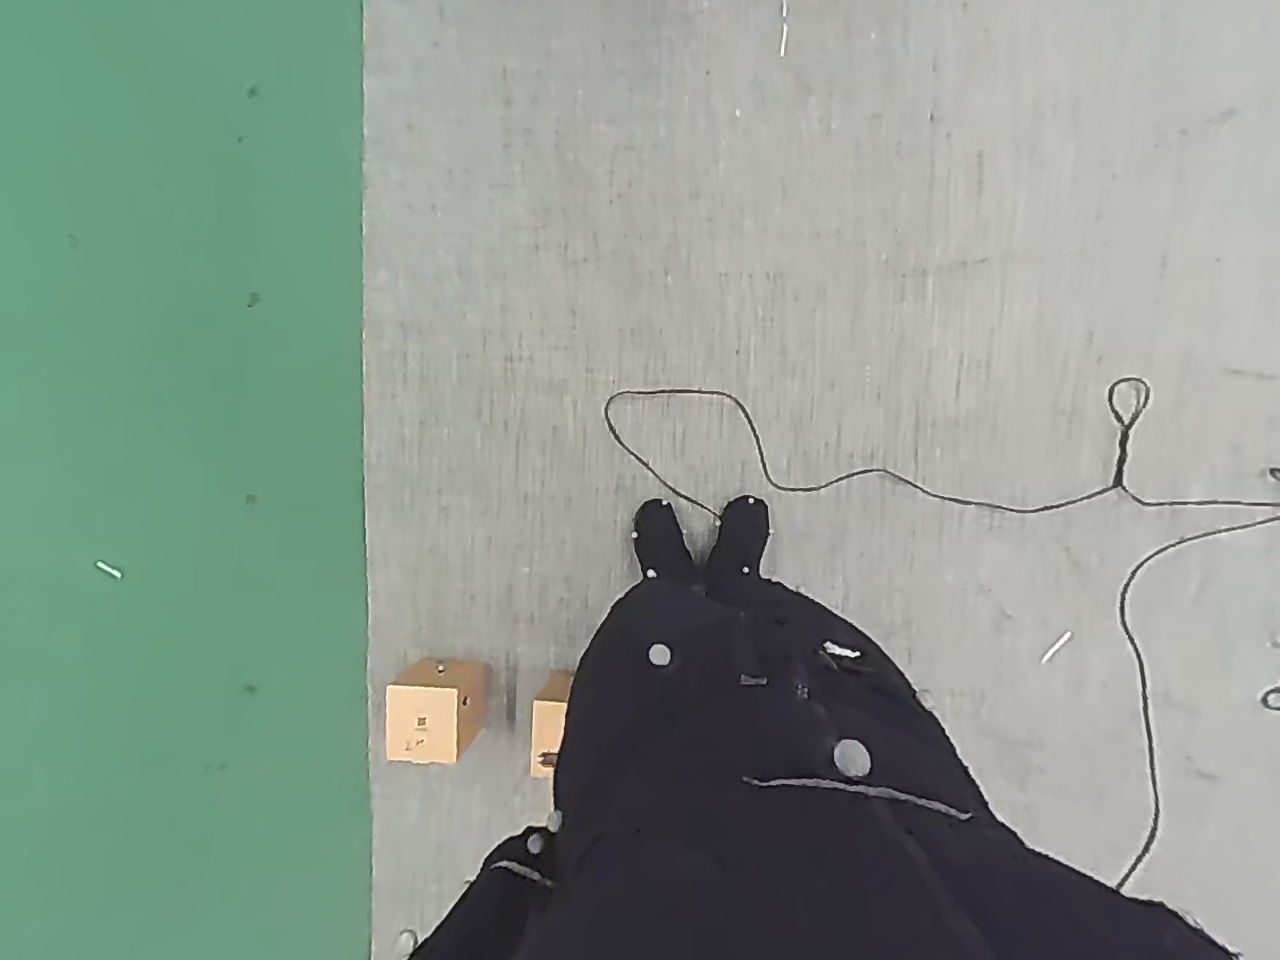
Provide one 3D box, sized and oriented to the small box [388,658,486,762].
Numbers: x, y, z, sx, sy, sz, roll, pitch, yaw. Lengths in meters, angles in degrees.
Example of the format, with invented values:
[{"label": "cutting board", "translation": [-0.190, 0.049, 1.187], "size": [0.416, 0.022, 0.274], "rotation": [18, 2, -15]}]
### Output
[{"label": "small box", "translation": [-0.474, 0.536, 1.281], "size": [0.168, 0.176, 0.179], "rotation": [2, 92, 5]}]
